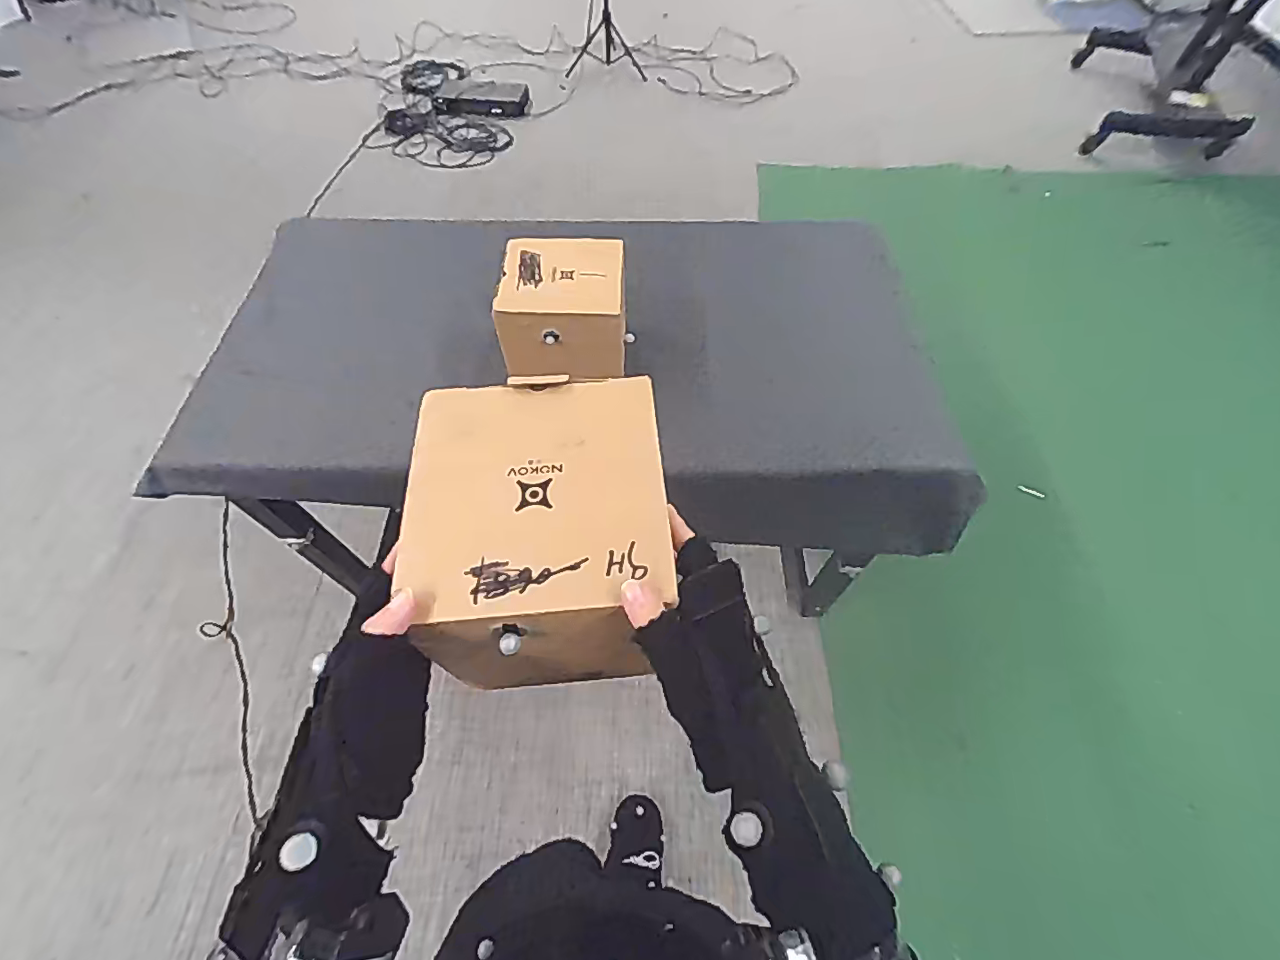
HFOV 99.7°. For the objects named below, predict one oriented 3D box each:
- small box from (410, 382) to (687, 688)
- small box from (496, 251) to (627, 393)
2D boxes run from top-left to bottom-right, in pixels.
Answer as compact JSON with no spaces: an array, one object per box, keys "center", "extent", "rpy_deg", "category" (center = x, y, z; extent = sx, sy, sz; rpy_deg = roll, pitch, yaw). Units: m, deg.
[{"center":[-0.064,0.047,0.429],"extent":[0.168,0.176,0.179],"rpy_deg":[-6,57,-4],"category":"small box"},{"center":[-0.112,-0.238,0.854],"extent":[0.179,0.176,0.168],"rpy_deg":[1,57,0],"category":"small box"}]
